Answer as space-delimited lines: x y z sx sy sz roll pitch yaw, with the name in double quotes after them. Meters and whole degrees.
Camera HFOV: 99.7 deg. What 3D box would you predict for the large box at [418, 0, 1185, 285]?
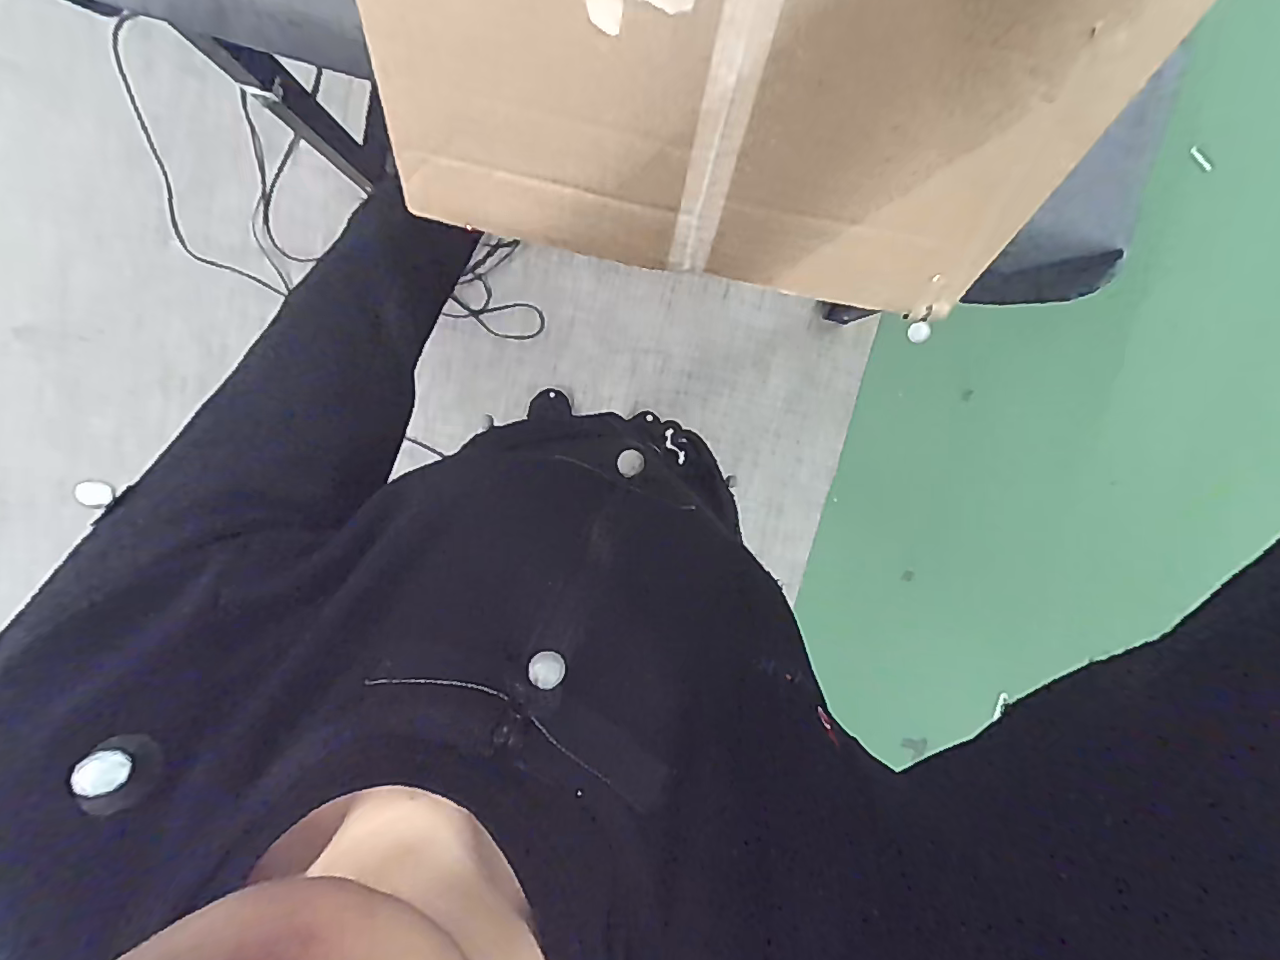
0.082 -0.364 0.222 0.320 0.408 0.320 9 61 -4 "large box"
